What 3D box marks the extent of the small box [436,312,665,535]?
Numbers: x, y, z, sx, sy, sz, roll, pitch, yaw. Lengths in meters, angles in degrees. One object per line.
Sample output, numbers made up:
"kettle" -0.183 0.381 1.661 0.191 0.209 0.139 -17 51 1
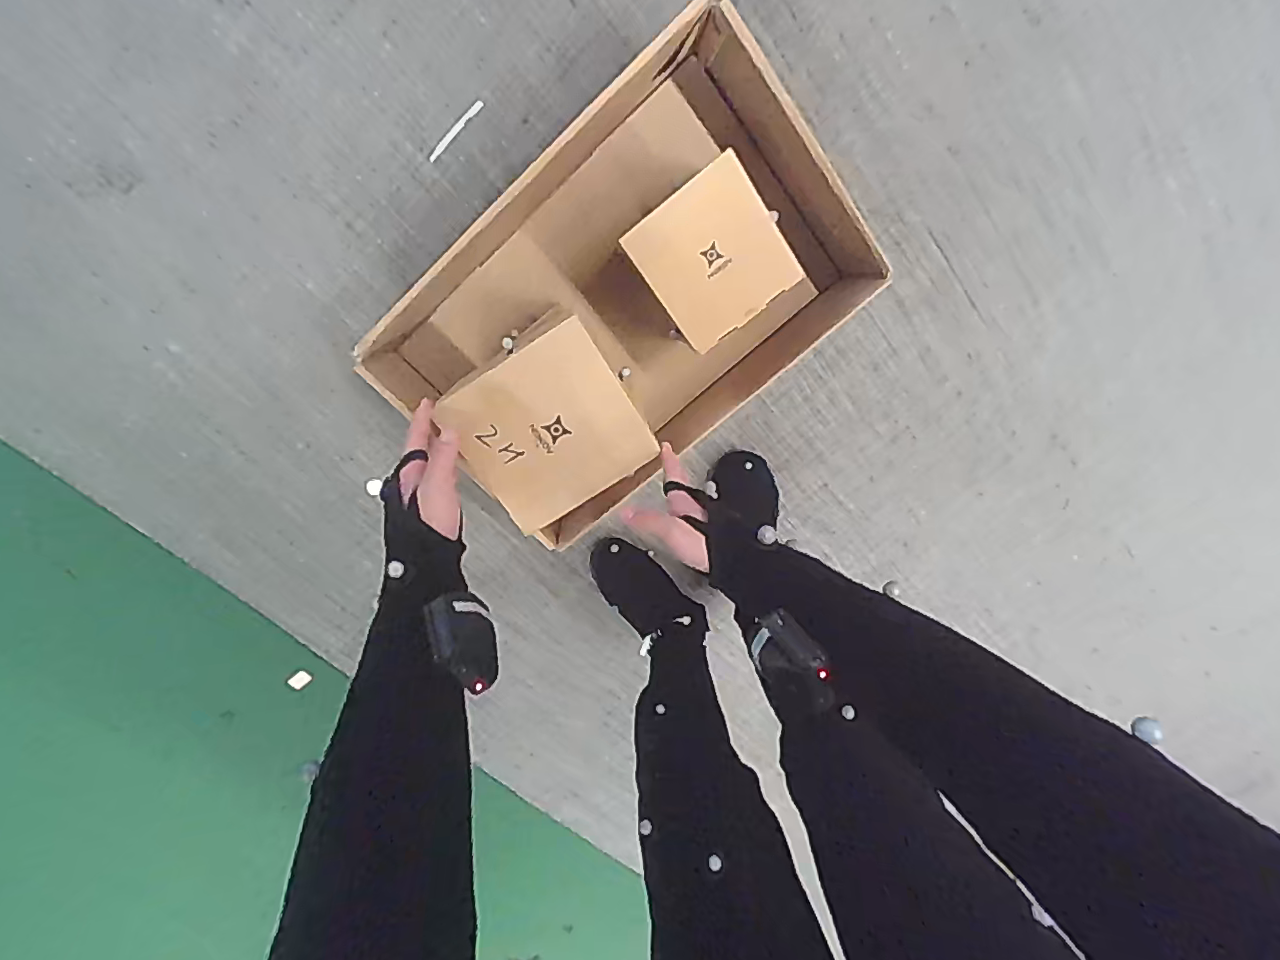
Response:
"small box" -0.096 -0.075 0.616 0.179 0.176 0.168 -32 111 6
